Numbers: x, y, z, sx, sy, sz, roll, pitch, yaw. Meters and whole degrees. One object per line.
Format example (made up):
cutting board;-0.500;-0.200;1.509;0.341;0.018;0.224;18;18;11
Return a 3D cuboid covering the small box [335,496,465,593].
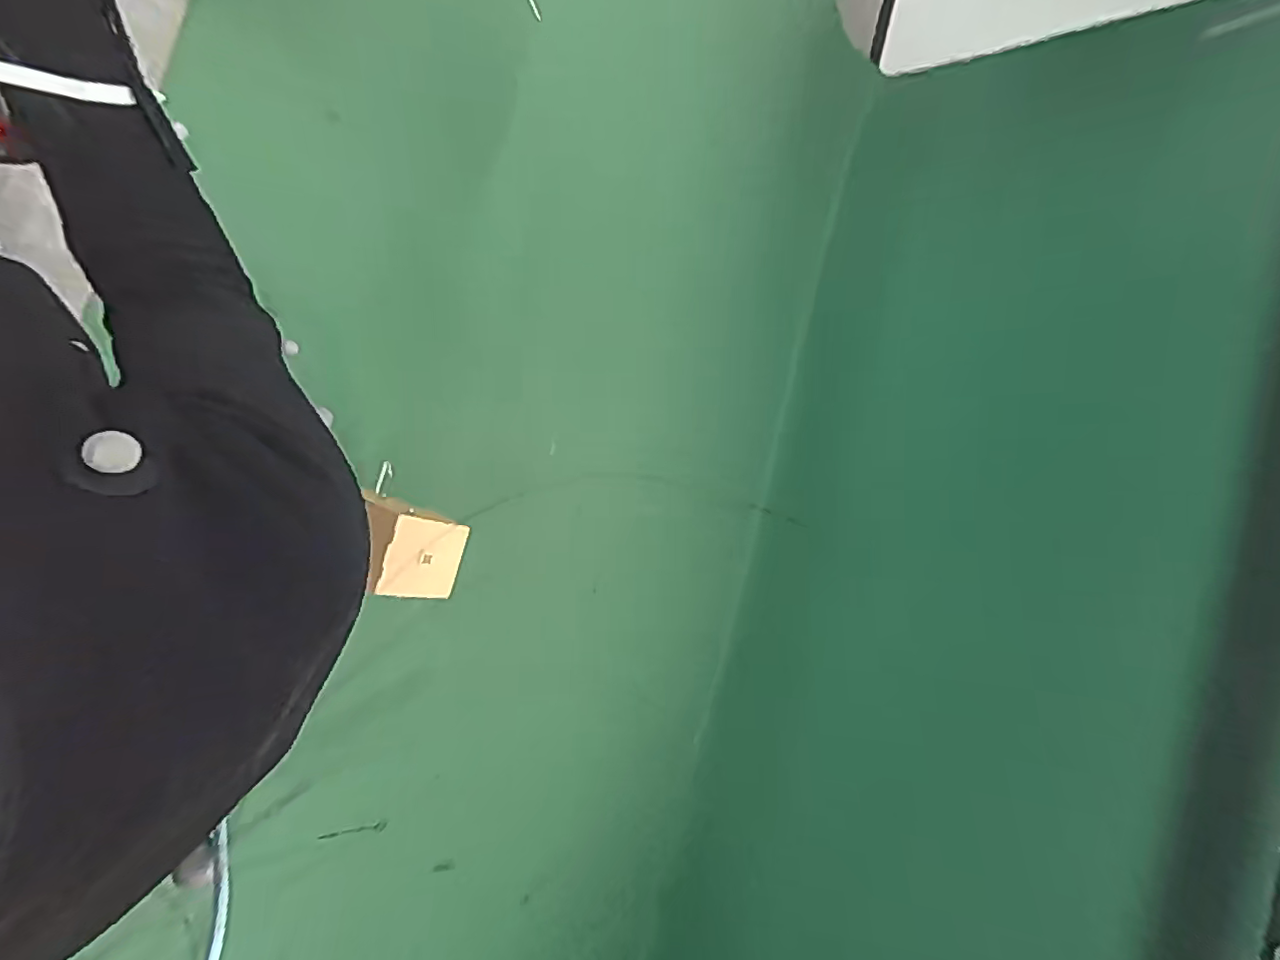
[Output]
small box;-0.524;0.140;1.182;0.179;0.176;0.168;21;84;-53
